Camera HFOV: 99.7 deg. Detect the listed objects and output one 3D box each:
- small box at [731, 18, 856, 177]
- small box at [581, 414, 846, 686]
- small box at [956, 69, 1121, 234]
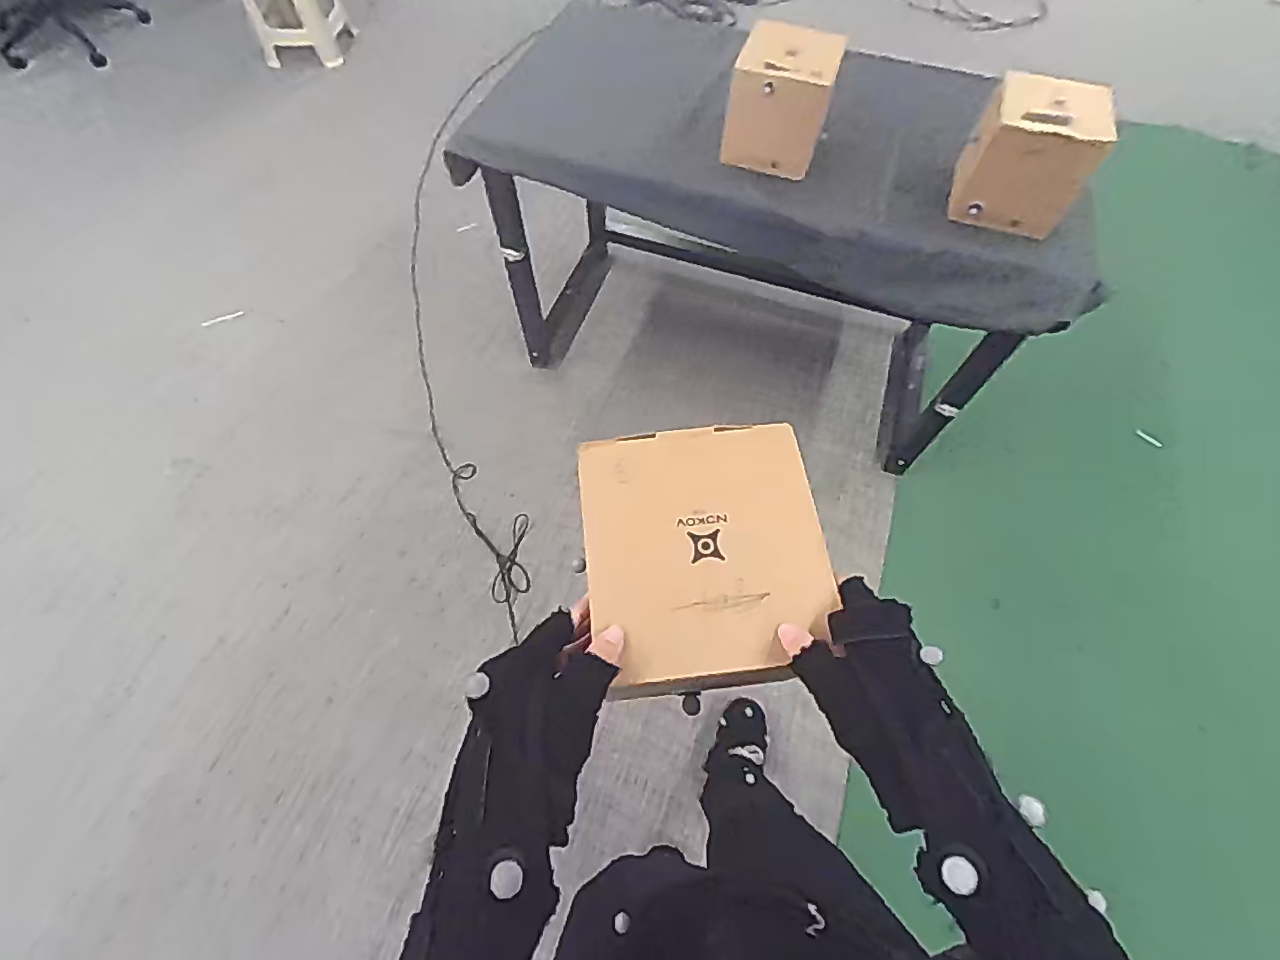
[{"bbox_3d":[0.276,-0.702,0.999,0.168,0.176,0.179,18,63,9],"label":"small box"},{"bbox_3d":[0.042,0.067,0.452,0.168,0.176,0.179,-6,67,-3],"label":"small box"},{"bbox_3d":[0.670,-0.555,0.924,0.168,0.176,0.179,19,62,10],"label":"small box"}]
